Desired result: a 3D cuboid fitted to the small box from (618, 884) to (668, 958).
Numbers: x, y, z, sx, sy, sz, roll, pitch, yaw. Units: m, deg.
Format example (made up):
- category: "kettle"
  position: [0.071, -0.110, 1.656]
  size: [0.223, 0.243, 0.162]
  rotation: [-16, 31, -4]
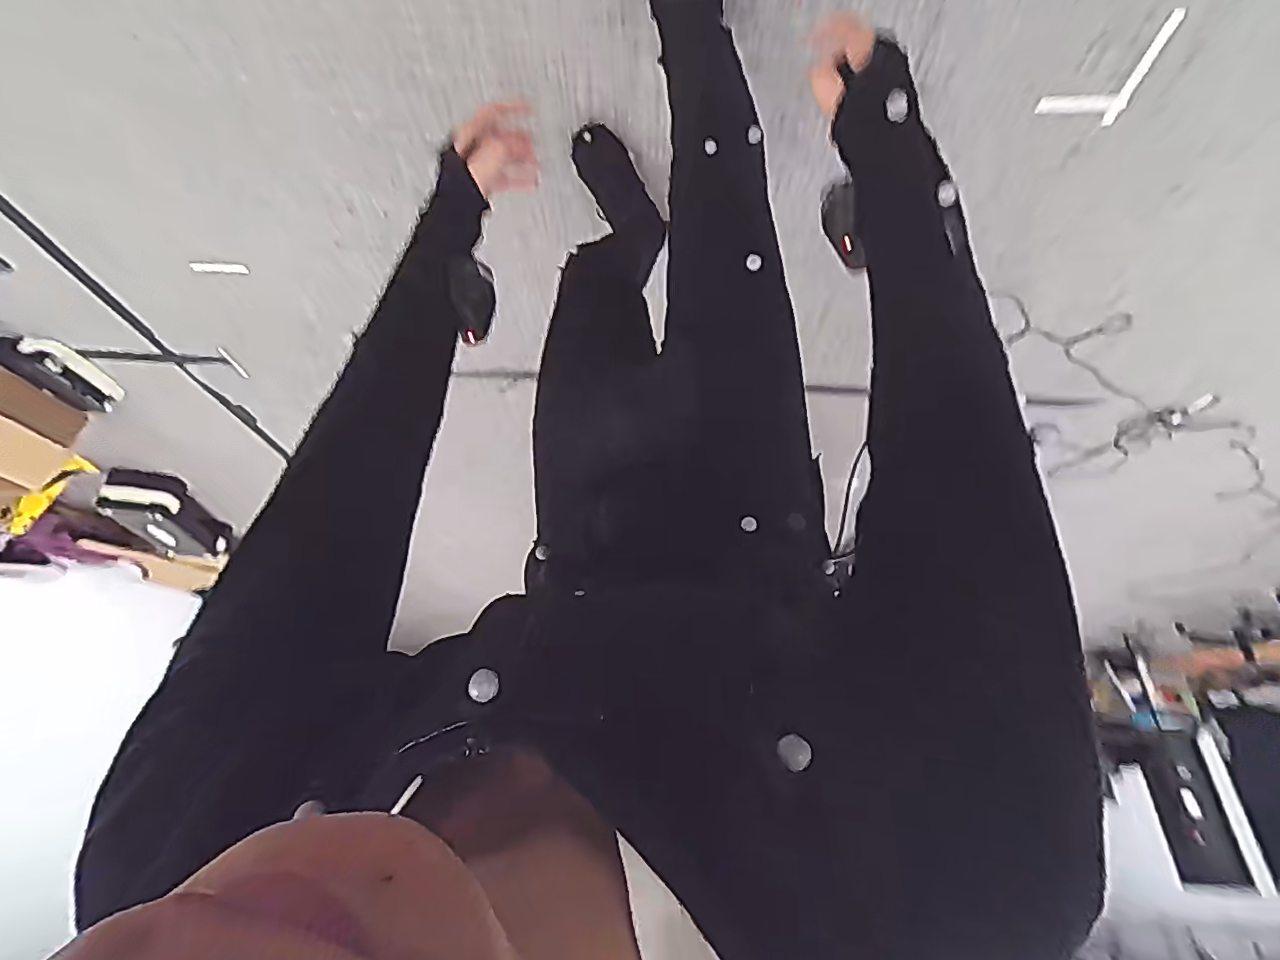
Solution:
- category: "small box"
  position: [0.010, 1.548, 1.904]
  size: [0.168, 0.176, 0.179]
  rotation: [3, 155, -1]
